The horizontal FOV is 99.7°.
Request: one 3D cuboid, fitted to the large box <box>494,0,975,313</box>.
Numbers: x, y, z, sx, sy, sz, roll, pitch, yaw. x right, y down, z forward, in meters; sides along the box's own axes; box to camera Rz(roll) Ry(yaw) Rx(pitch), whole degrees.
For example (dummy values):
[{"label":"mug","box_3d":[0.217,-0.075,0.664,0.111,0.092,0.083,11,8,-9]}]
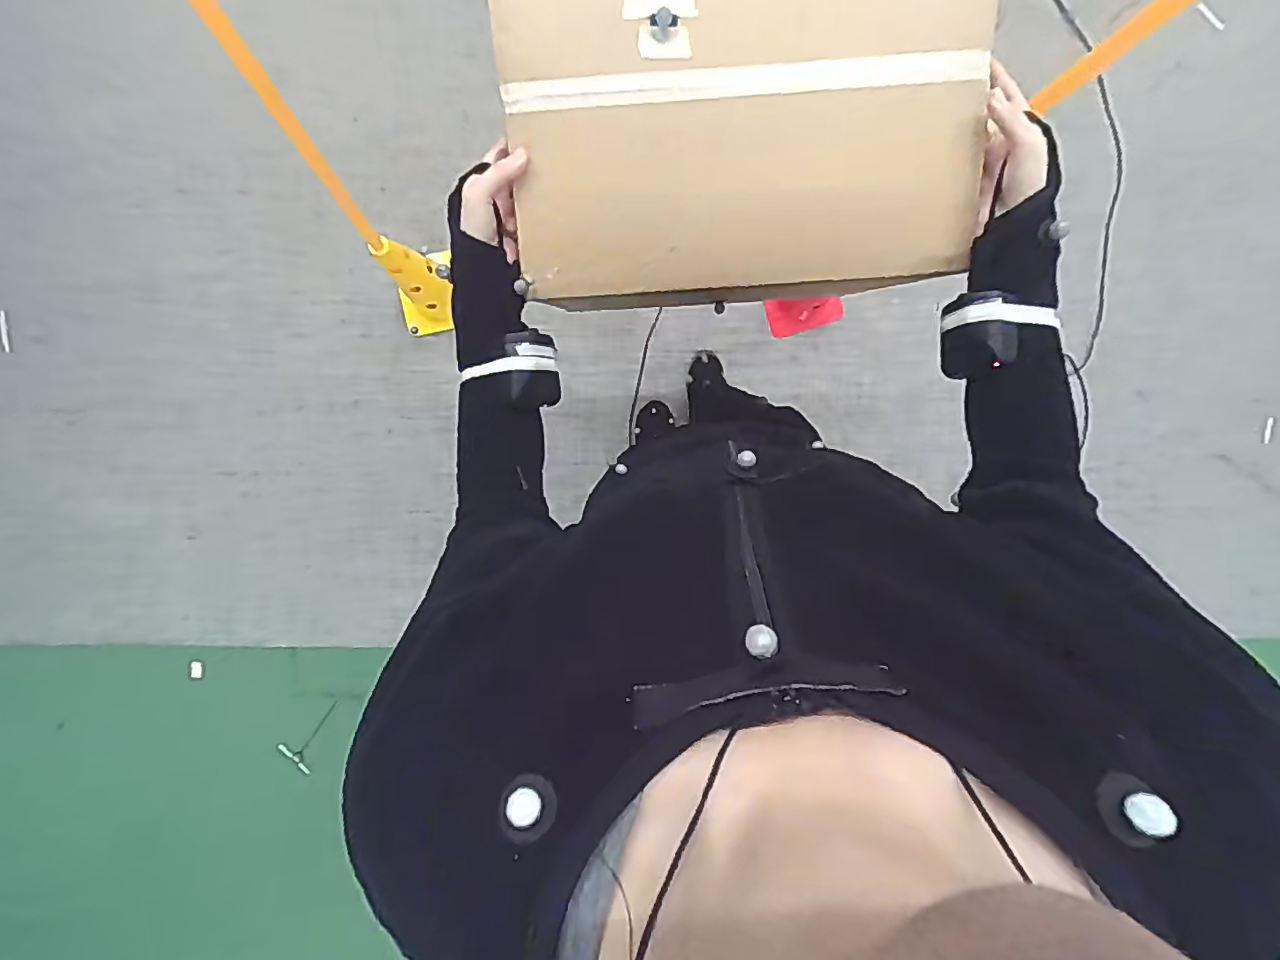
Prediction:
[{"label":"large box","box_3d":[0.084,-0.367,0.608,0.408,0.320,0.320,-4,104,1]}]
